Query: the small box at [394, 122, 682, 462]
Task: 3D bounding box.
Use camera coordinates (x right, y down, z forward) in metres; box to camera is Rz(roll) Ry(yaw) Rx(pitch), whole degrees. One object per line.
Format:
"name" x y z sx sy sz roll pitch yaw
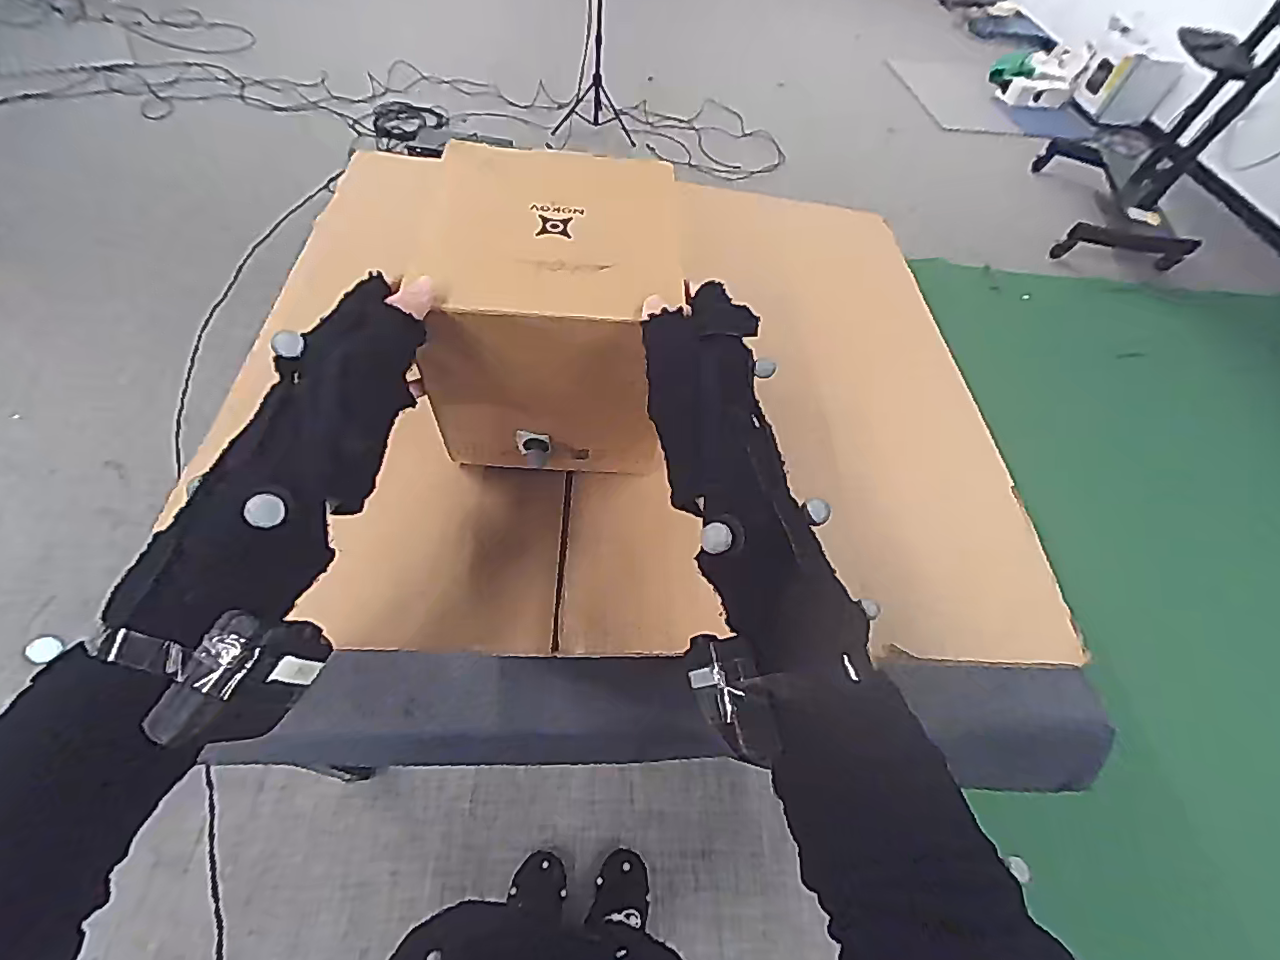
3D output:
"small box" -0.066 -0.135 0.416 0.168 0.176 0.179 2 58 -5
